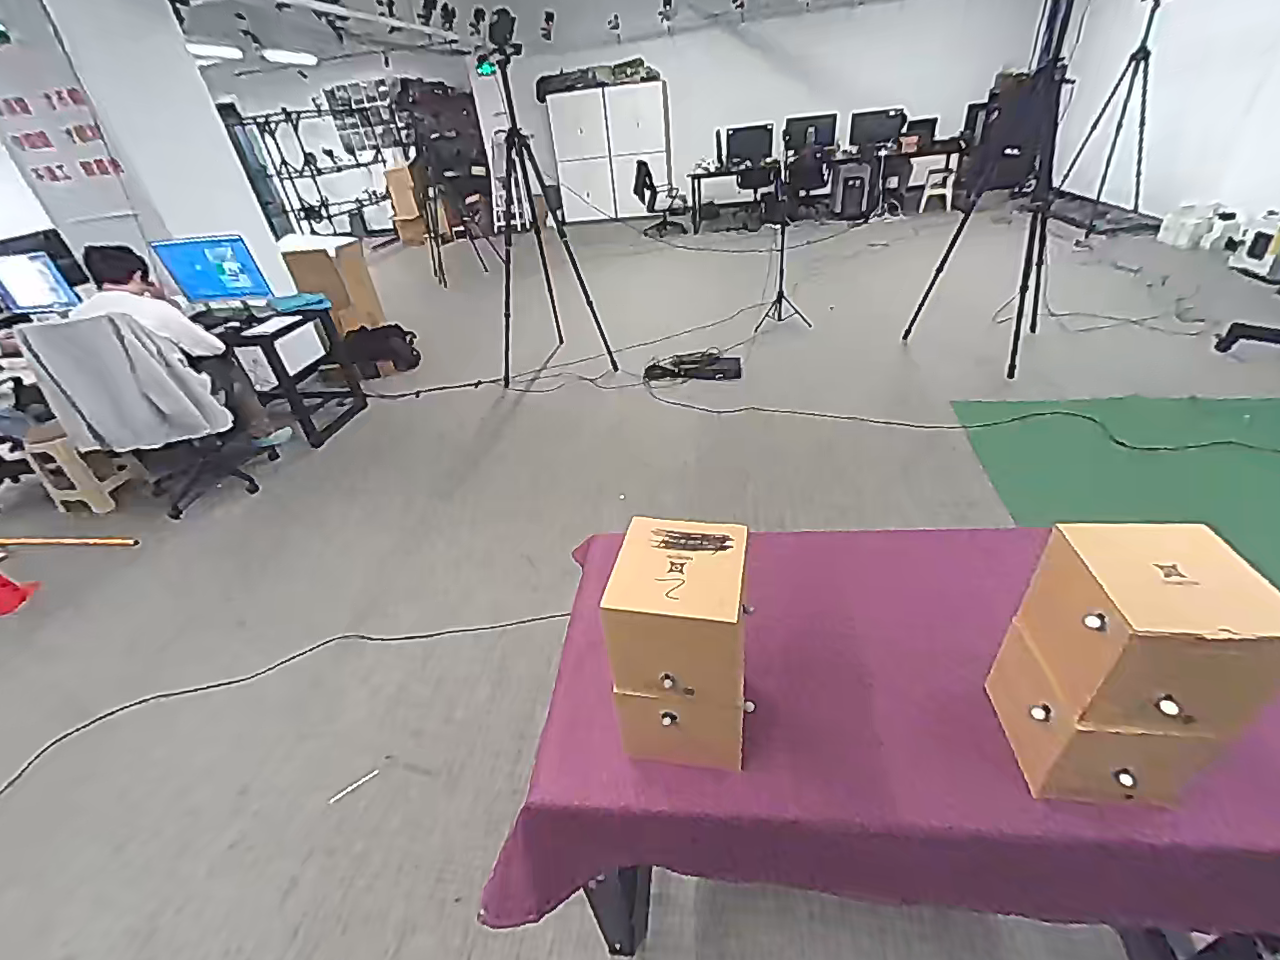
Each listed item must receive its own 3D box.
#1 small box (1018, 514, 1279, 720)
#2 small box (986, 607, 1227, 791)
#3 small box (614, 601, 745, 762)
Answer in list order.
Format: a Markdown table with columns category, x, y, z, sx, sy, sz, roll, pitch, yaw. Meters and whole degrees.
| category | x | y | z | sx | sy | sz | roll | pitch | yaw |
| --- | --- | --- | --- | --- | --- | --- | --- | --- | --- |
| small box | 0.598 | 0.160 | 0.652 | 0.168 | 0.176 | 0.179 | -1 | 36 | 9 |
| small box | 0.609 | 0.297 | 0.739 | 0.168 | 0.176 | 0.179 | -1 | 35 | 9 |
| small box | 0.070 | 0.307 | 0.829 | 0.179 | 0.176 | 0.168 | 1 | 36 | 11 |
